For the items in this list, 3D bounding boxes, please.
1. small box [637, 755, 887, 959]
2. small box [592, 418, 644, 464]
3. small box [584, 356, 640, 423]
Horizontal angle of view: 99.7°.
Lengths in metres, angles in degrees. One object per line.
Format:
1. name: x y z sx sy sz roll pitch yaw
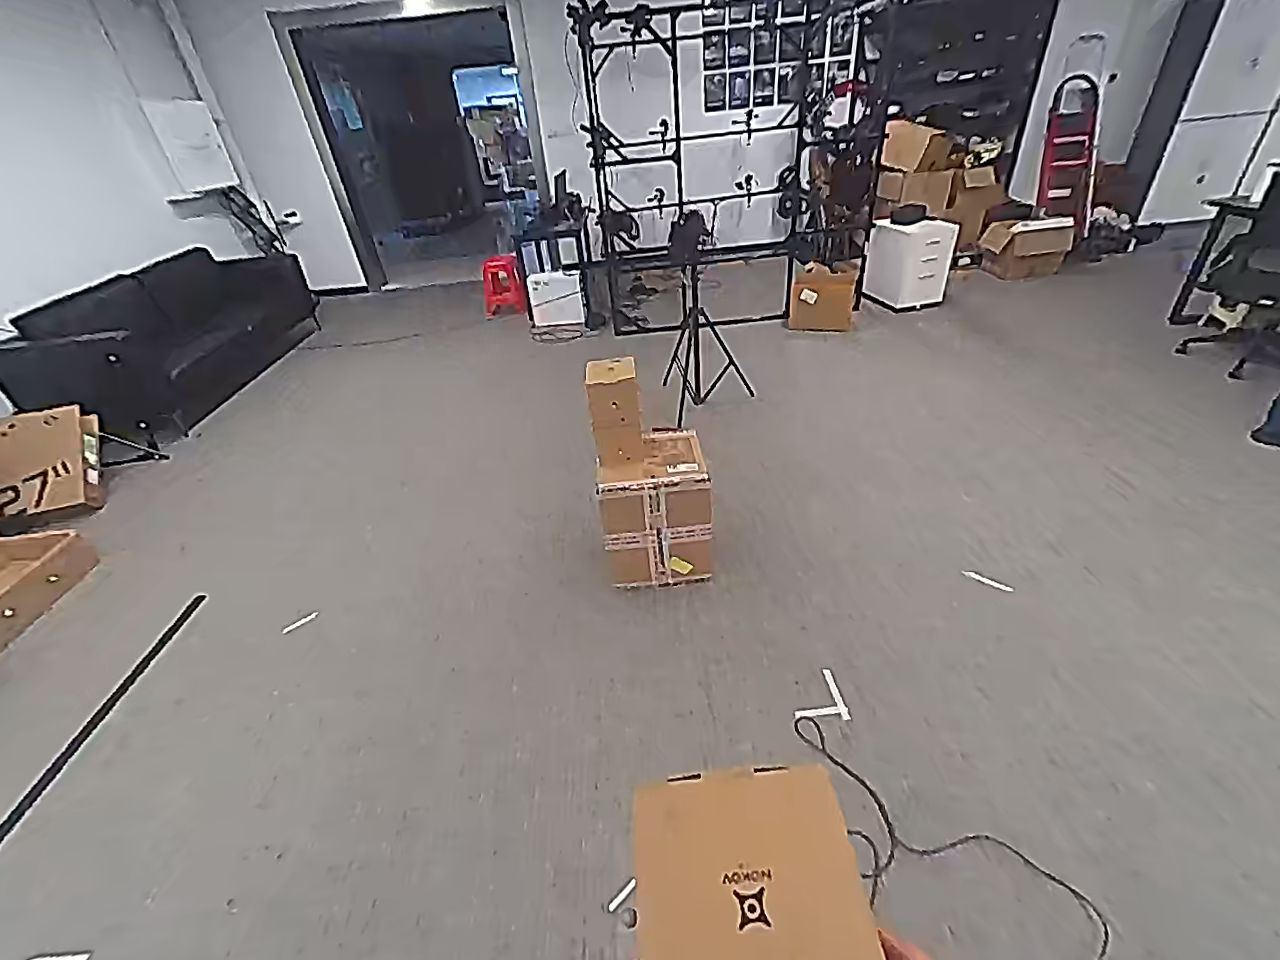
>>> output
1. small box: 0.087 0.357 0.448 0.168 0.176 0.179 -6 43 0
2. small box: -0.080 -0.179 1.965 0.168 0.176 0.179 -8 37 1
3. small box: -0.093 -0.305 1.860 0.168 0.176 0.179 -7 37 2
